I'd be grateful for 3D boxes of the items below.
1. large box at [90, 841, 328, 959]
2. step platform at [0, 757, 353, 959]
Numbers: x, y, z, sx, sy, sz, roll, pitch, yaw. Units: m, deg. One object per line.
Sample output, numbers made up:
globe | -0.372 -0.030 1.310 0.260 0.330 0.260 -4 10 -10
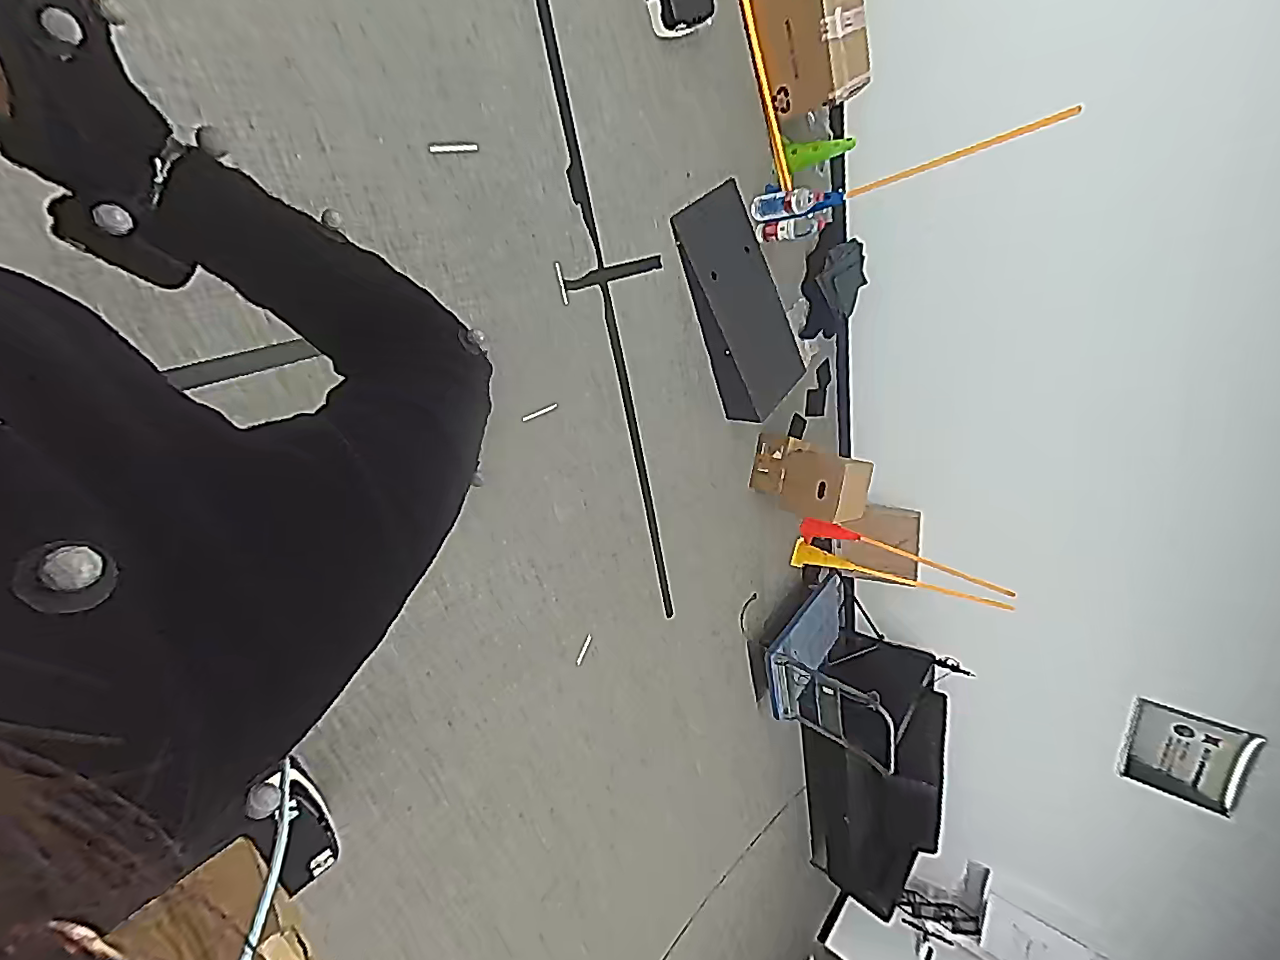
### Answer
large box | -0.884 1.051 1.064 0.408 0.320 0.320 -32 122 -40
step platform | -1.043 0.979 1.230 0.684 0.204 0.286 -26 117 -42
